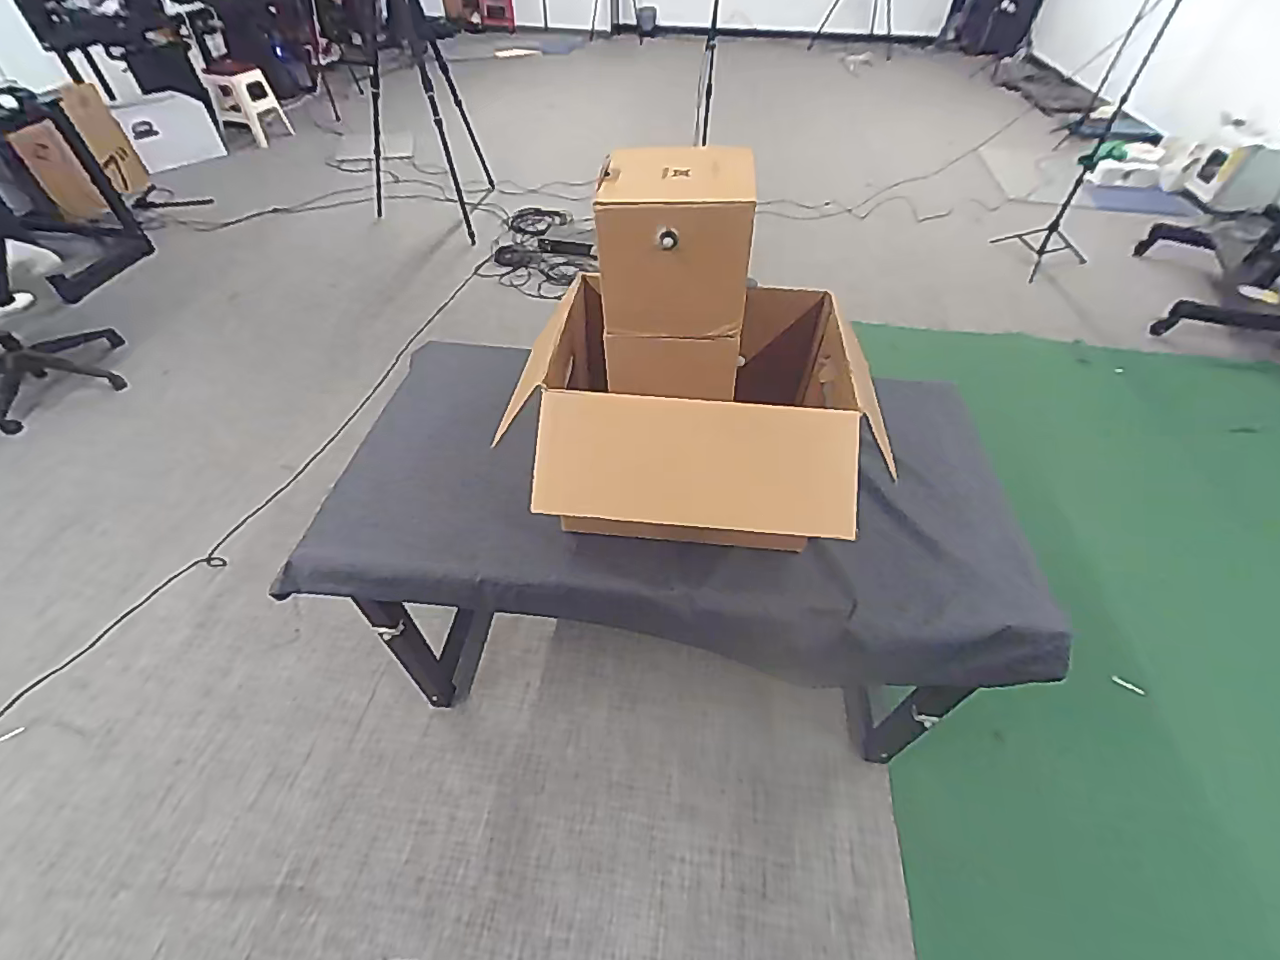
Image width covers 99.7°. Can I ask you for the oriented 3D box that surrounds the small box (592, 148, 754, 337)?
[{"bbox_3d":[0.044,-0.297,0.683,0.179,0.176,0.168,3,50,4],"label":"small box"}]
